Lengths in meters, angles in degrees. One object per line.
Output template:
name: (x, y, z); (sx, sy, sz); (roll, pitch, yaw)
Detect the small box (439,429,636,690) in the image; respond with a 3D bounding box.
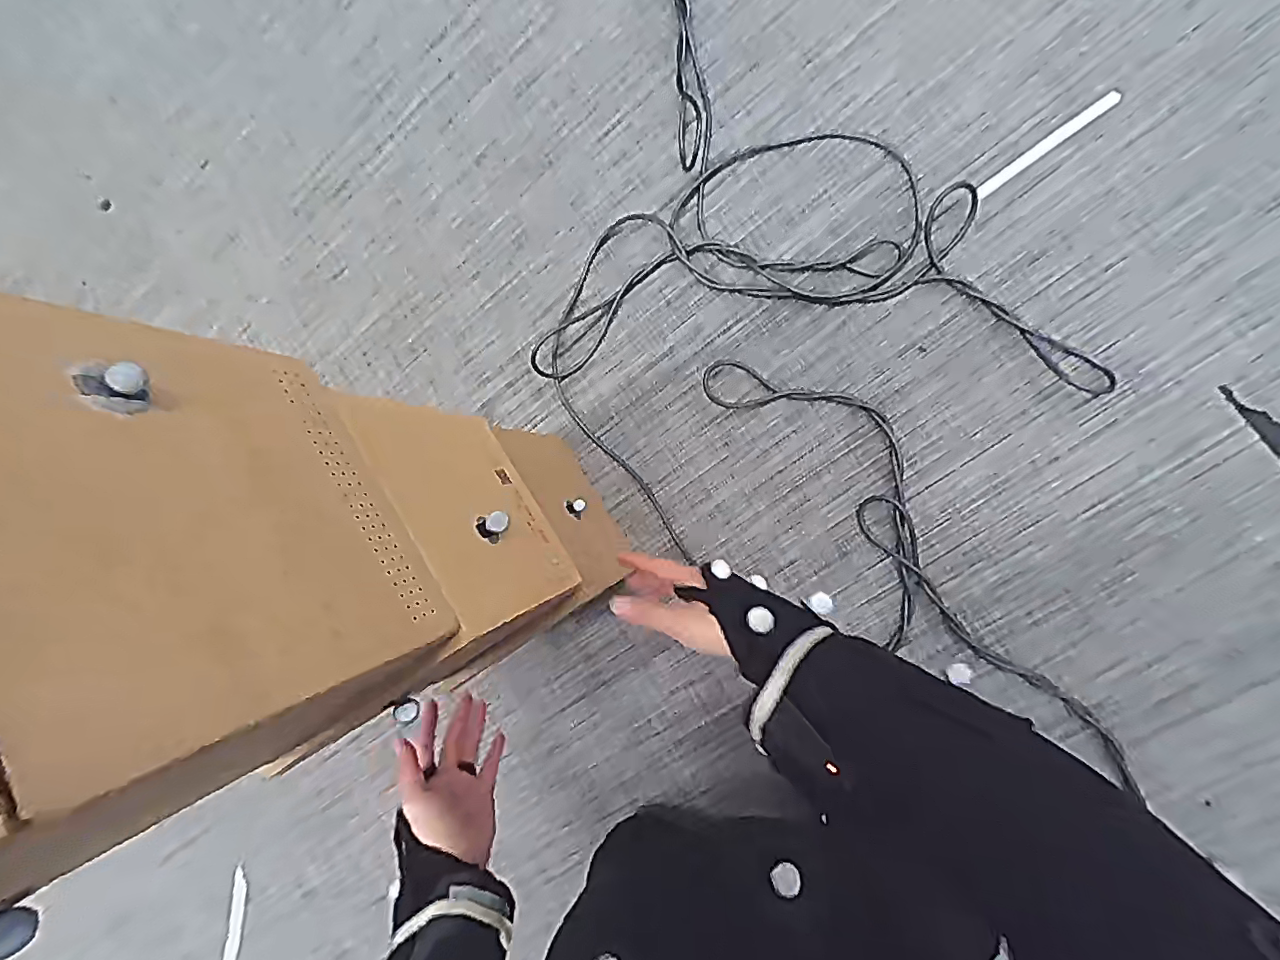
small box: (-0.129, 0.070, 0.547); (0.168, 0.176, 0.179); (-35, 83, 13)

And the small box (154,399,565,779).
small box: (-0.176, 0.064, 0.391); (0.179, 0.176, 0.168); (-36, 82, 14)
